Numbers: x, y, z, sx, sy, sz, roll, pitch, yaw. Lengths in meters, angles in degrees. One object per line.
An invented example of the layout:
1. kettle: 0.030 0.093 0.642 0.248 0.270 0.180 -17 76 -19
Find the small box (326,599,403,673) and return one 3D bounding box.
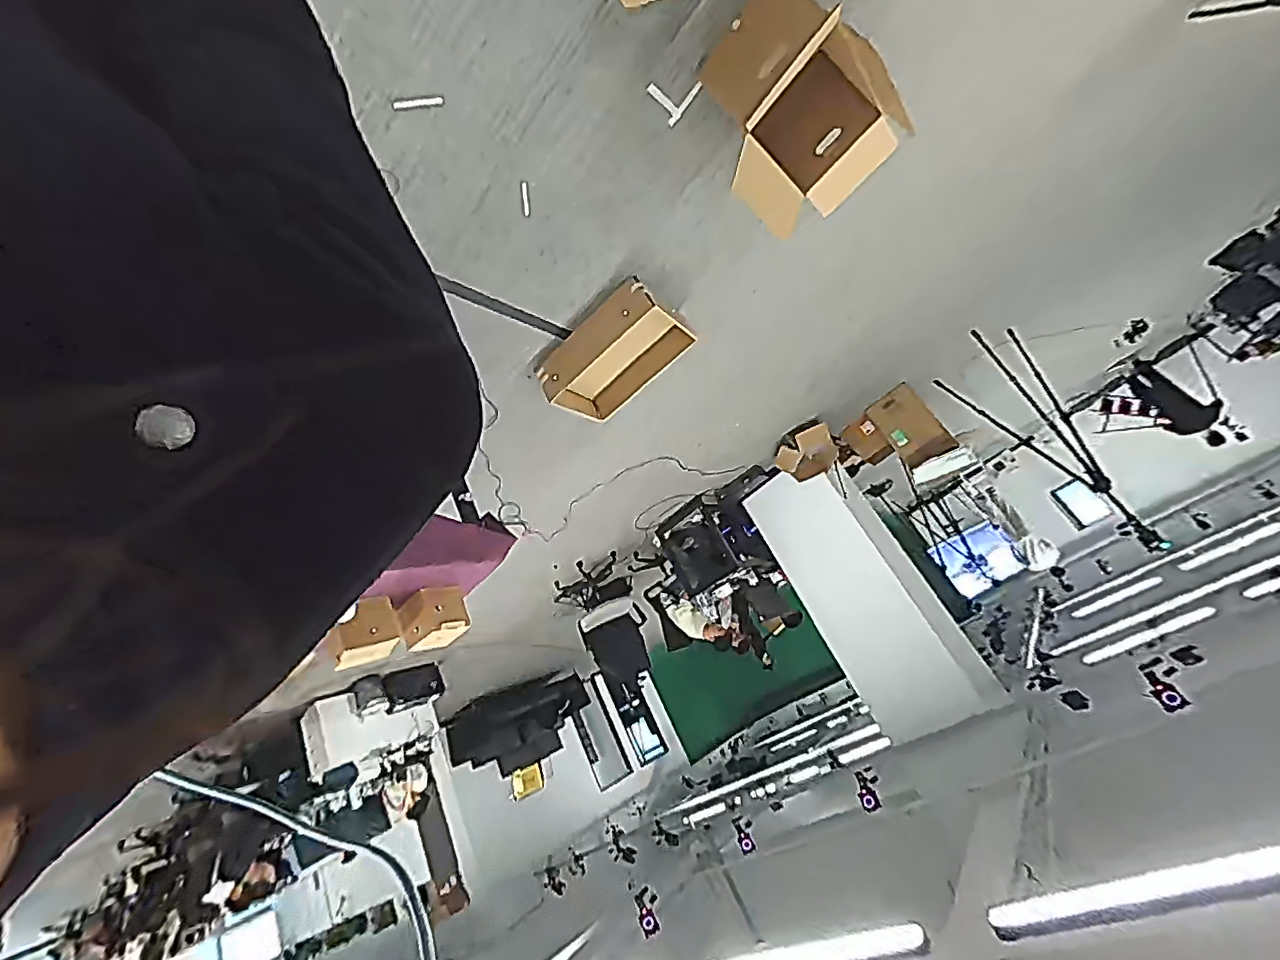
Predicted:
1. small box: -0.931 0.518 1.819 0.179 0.176 0.168 -4 146 -45

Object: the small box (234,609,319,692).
1. small box: -1.081 0.496 1.602 0.168 0.176 0.179 0 145 -48

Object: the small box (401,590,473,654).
1. small box: -0.764 0.521 2.019 0.179 0.176 0.168 -39 154 24
